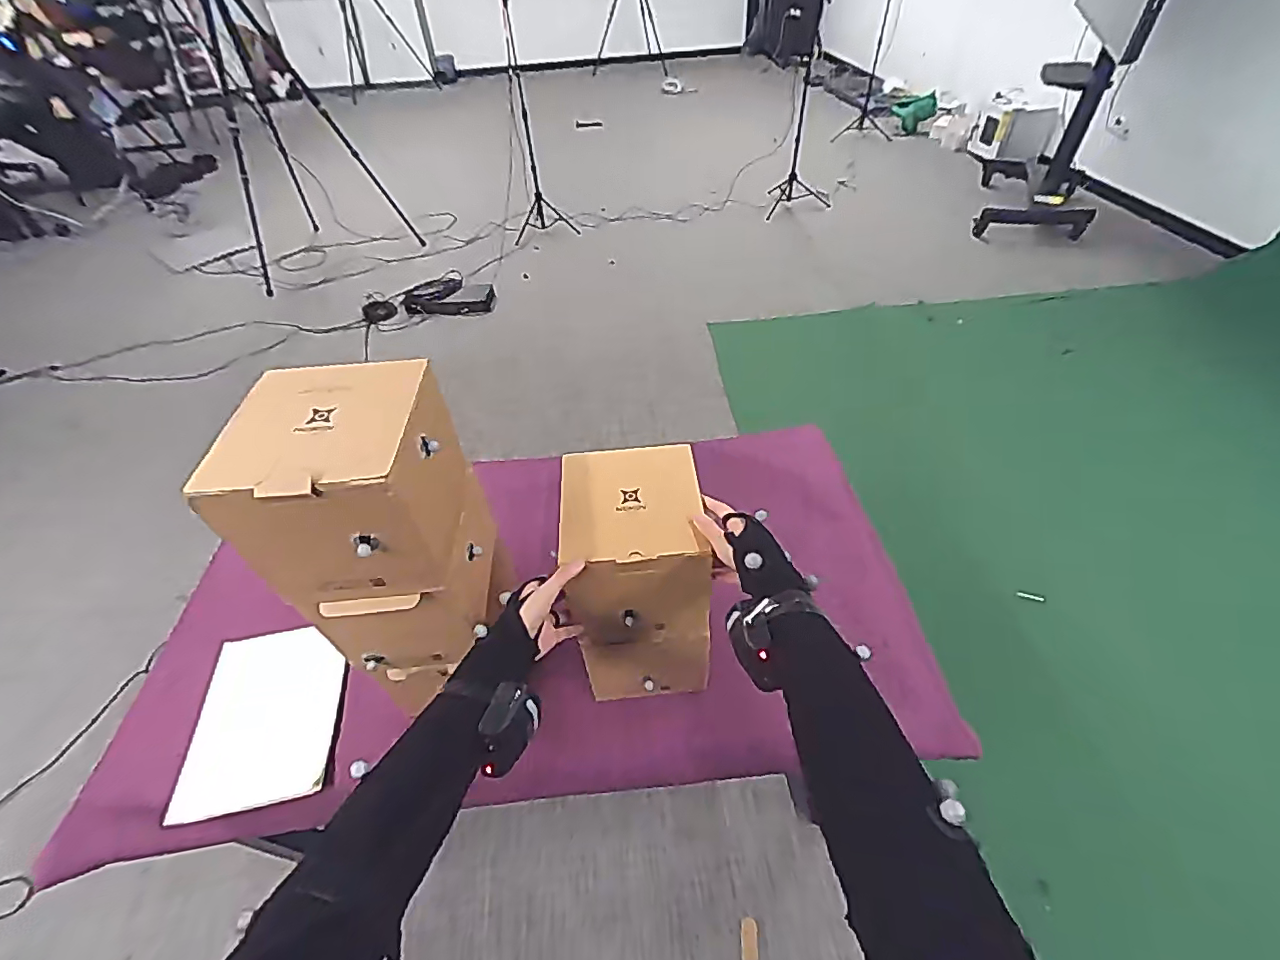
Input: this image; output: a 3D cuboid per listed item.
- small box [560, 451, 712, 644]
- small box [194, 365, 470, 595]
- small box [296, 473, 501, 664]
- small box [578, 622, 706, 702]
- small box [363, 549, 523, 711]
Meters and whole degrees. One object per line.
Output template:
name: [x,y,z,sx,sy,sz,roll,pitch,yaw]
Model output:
small box: [-0.008,0.086,0.690,0.168,0.176,0.179,-5,45,-2]
small box: [-0.285,0.005,0.555,0.168,0.176,0.179,-4,45,-1]
small box: [-0.279,0.115,0.675,0.168,0.176,0.179,-5,45,-2]
small box: [0.002,0.204,0.801,0.168,0.176,0.179,-6,45,0]
small box: [-0.273,0.226,0.797,0.168,0.176,0.179,-5,46,-2]
